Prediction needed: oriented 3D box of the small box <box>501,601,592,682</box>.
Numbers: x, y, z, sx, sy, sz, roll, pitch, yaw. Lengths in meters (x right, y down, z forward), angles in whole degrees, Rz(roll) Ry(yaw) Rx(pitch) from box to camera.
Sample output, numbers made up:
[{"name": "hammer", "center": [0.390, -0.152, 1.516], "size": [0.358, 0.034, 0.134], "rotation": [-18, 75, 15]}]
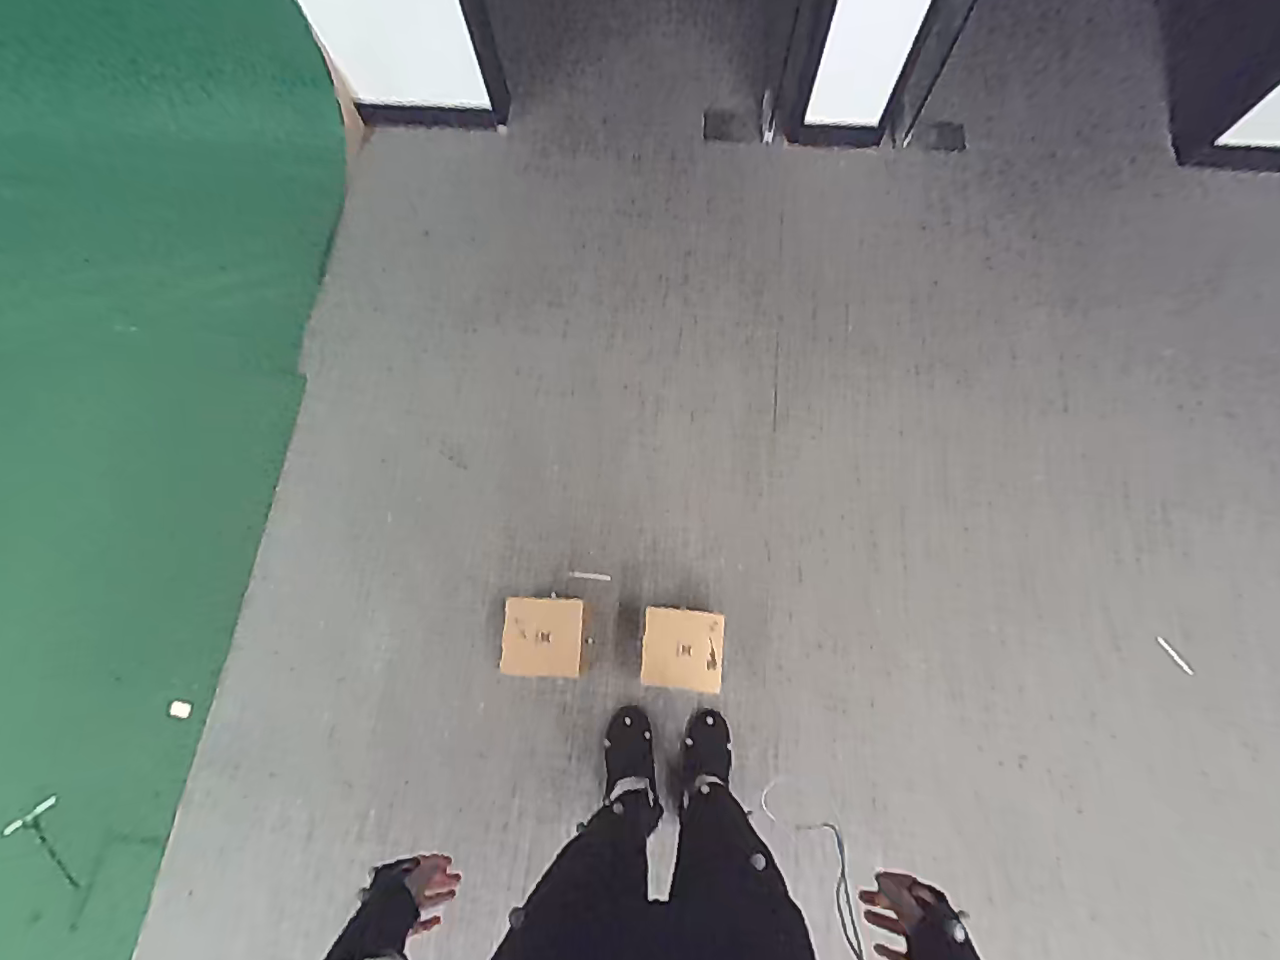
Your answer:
[{"name": "small box", "center": [-0.210, 0.375, 1.266], "size": [0.179, 0.176, 0.168], "rotation": [2, 73, 3]}]
